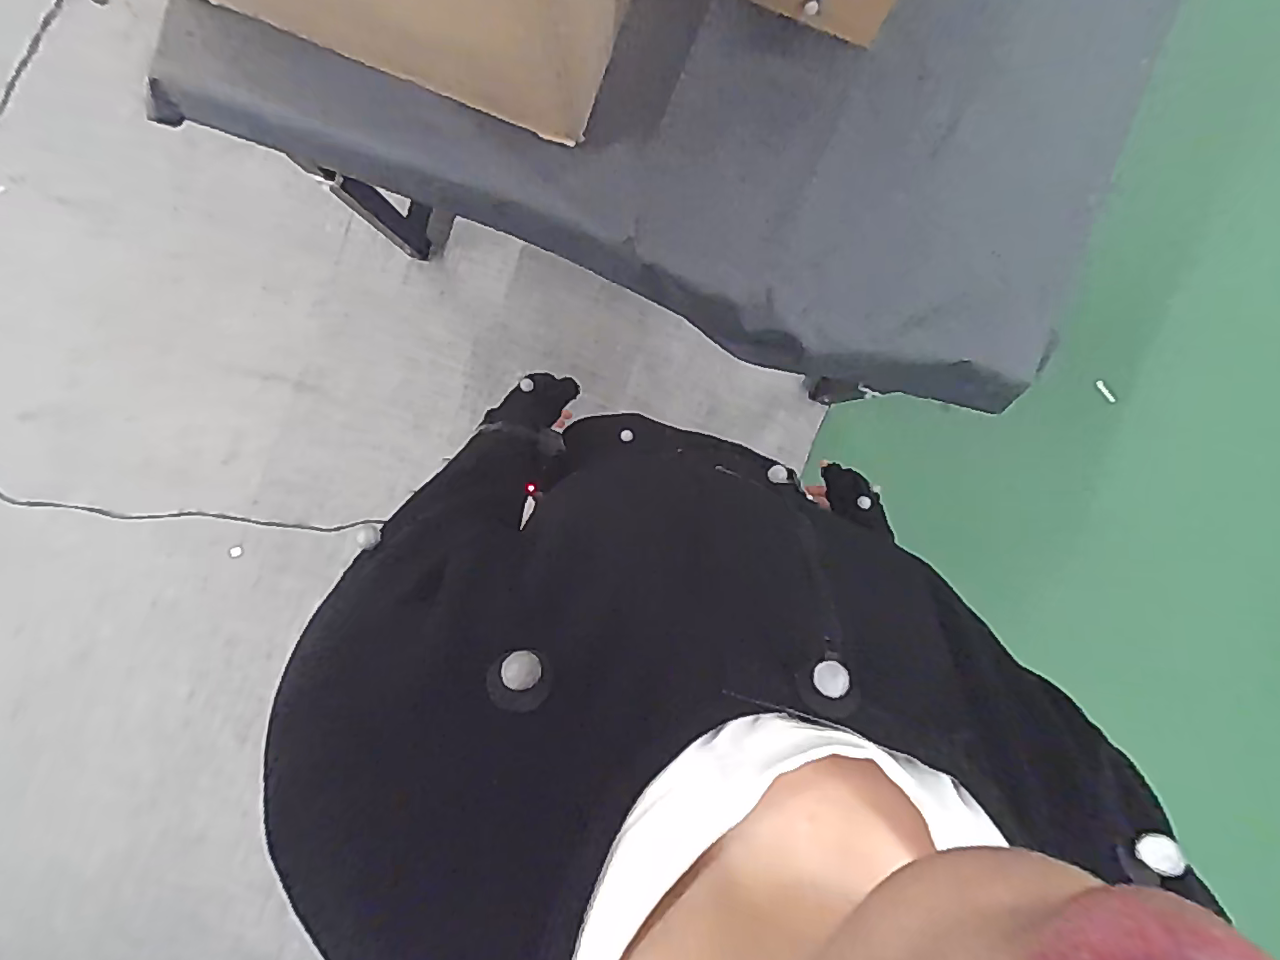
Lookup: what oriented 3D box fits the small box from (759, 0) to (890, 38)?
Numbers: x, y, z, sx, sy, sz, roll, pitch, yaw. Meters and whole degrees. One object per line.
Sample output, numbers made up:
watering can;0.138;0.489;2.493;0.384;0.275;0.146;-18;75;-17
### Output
small box;0.242;-0.660;0.612;0.179;0.176;0.168;20;94;-3
